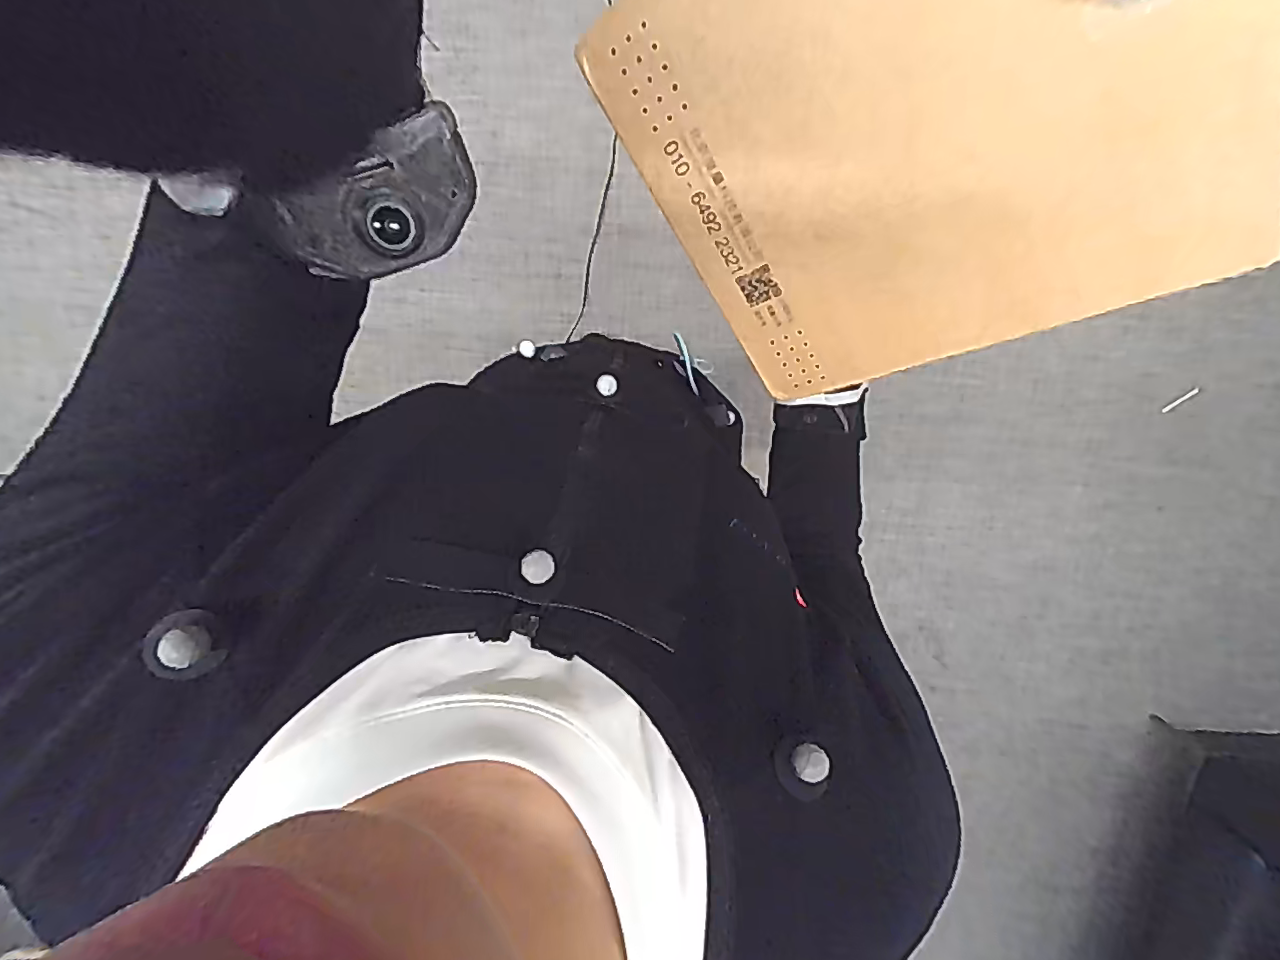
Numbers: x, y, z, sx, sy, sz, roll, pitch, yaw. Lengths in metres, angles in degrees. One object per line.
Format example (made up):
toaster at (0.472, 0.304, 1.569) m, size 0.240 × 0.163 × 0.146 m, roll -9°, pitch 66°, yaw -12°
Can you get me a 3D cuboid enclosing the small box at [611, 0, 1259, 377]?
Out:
small box at (0.113, -0.175, 0.234) m, size 0.176 × 0.179 × 0.168 m, roll -13°, pitch 129°, yaw 38°
